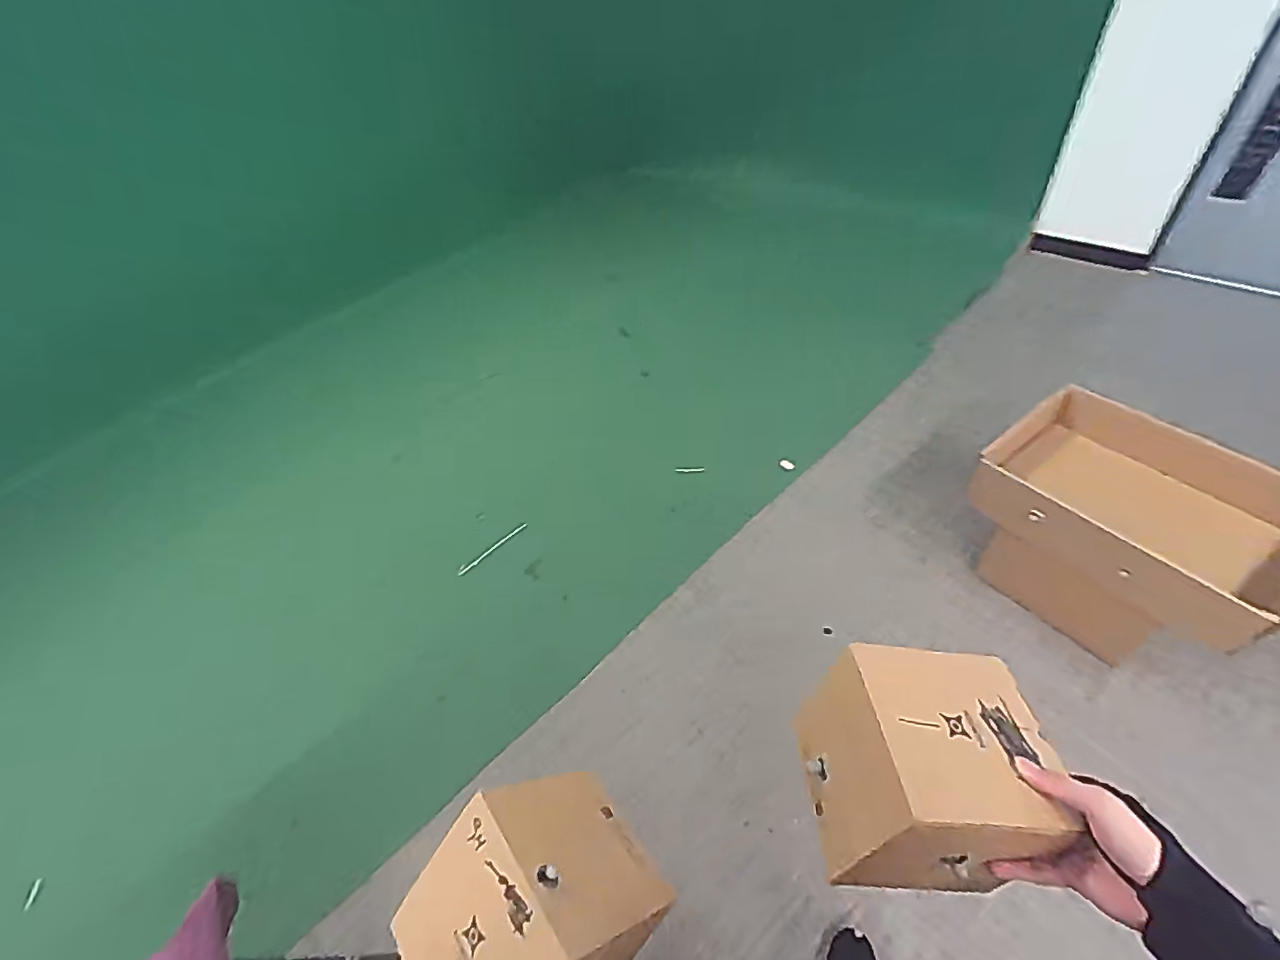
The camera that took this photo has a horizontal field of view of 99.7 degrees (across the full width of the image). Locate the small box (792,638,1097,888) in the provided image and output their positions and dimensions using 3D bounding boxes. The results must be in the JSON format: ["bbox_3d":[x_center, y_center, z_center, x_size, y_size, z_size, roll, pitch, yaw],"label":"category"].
[{"bbox_3d":[0.278,0.285,0.543,0.179,0.176,0.168,8,38,-7],"label":"small box"}]

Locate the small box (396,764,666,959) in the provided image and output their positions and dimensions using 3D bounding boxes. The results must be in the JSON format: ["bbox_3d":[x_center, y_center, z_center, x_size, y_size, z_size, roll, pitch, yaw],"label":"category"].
[{"bbox_3d":[-0.105,0.421,0.543,0.168,0.176,0.179,39,98,40],"label":"small box"}]
